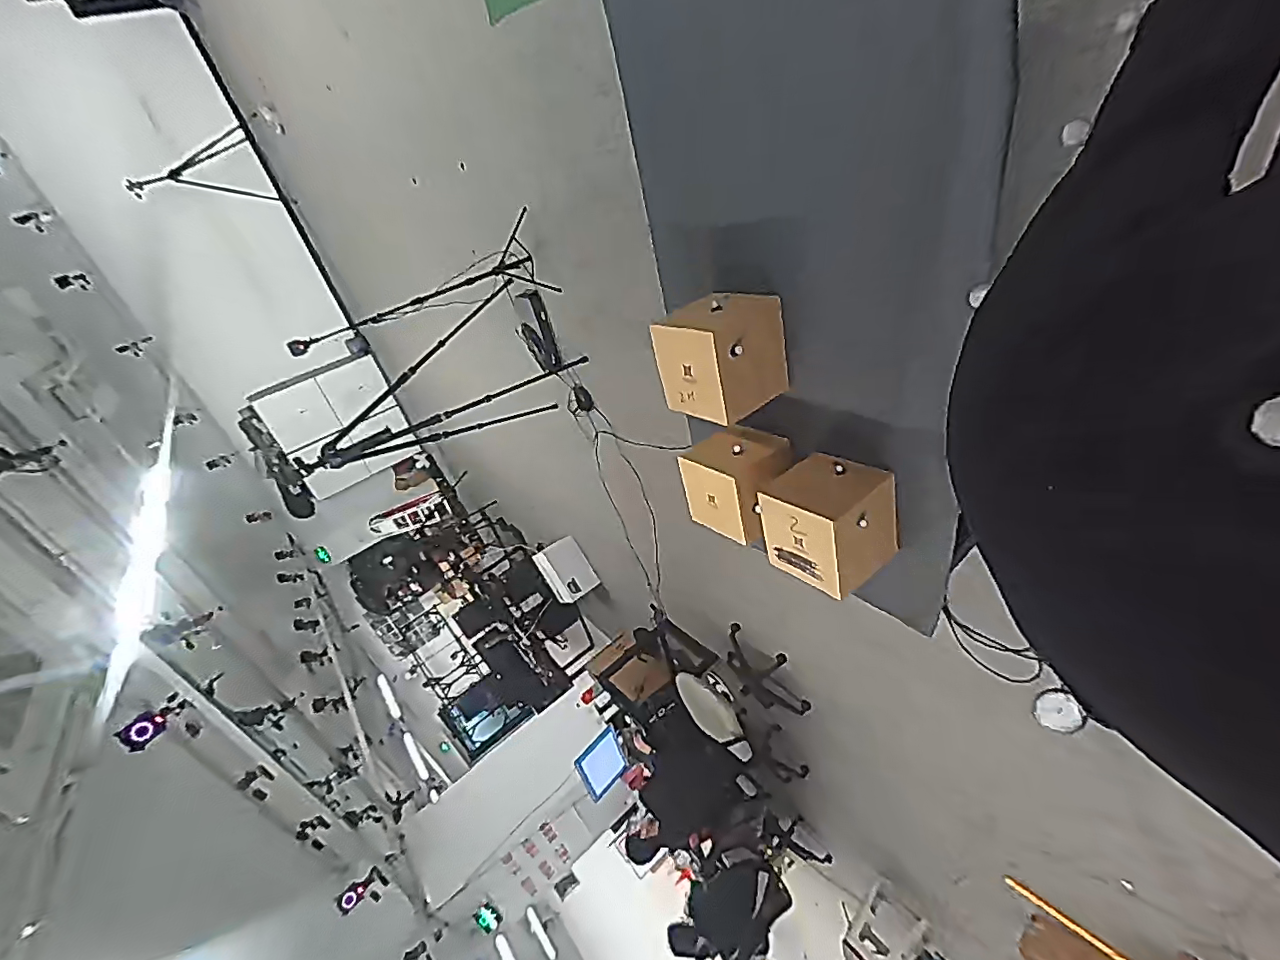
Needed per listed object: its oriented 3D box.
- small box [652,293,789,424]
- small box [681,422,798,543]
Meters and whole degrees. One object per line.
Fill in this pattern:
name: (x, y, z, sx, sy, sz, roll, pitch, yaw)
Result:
small box: (0.152, -0.232, 0.993, 0.168, 0.176, 0.179, 26, 142, 48)
small box: (0.217, -0.004, 1.153, 0.168, 0.176, 0.179, 25, 141, 48)
